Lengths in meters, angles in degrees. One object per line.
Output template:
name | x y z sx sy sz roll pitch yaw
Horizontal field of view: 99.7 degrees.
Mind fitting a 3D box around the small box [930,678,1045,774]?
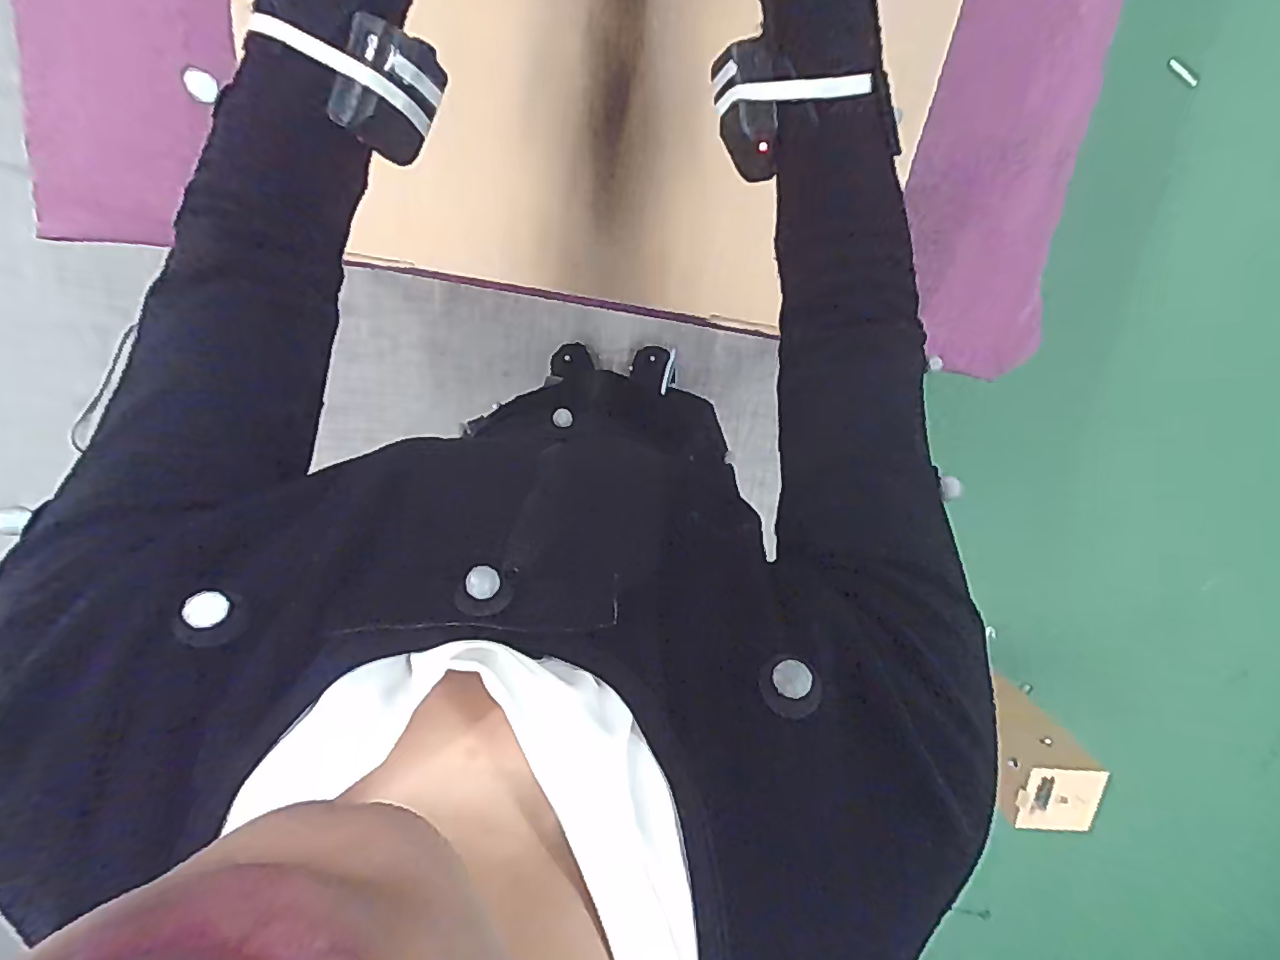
small box | 0.911 0.646 1.433 0.179 0.176 0.168 4 105 -1
